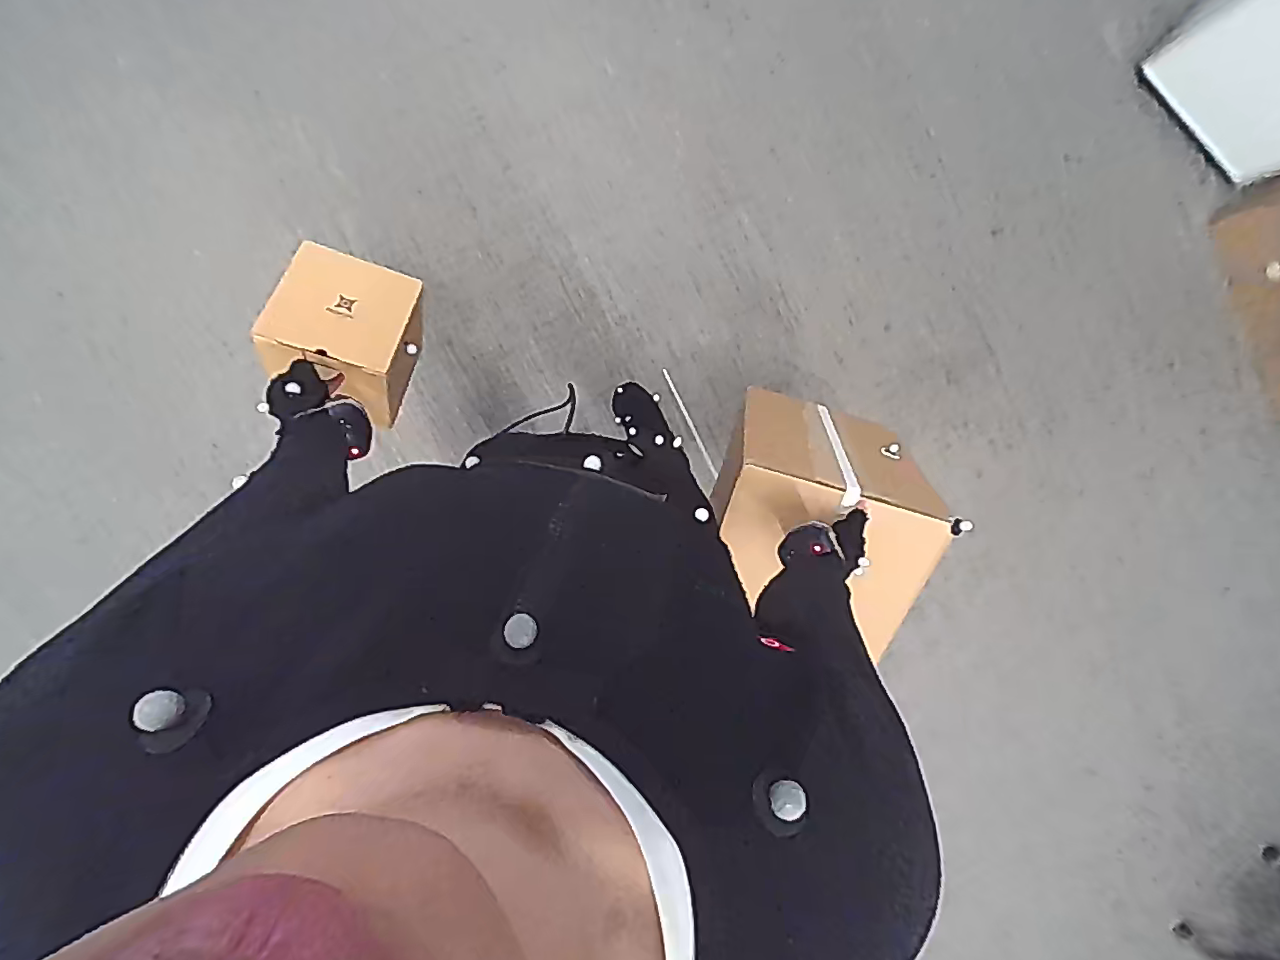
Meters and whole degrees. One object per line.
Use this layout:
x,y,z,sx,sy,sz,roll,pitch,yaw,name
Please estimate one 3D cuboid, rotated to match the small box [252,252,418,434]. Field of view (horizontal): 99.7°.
-0.449,-0.199,0.822,0.168,0.176,0.179,14,61,-17,small box
